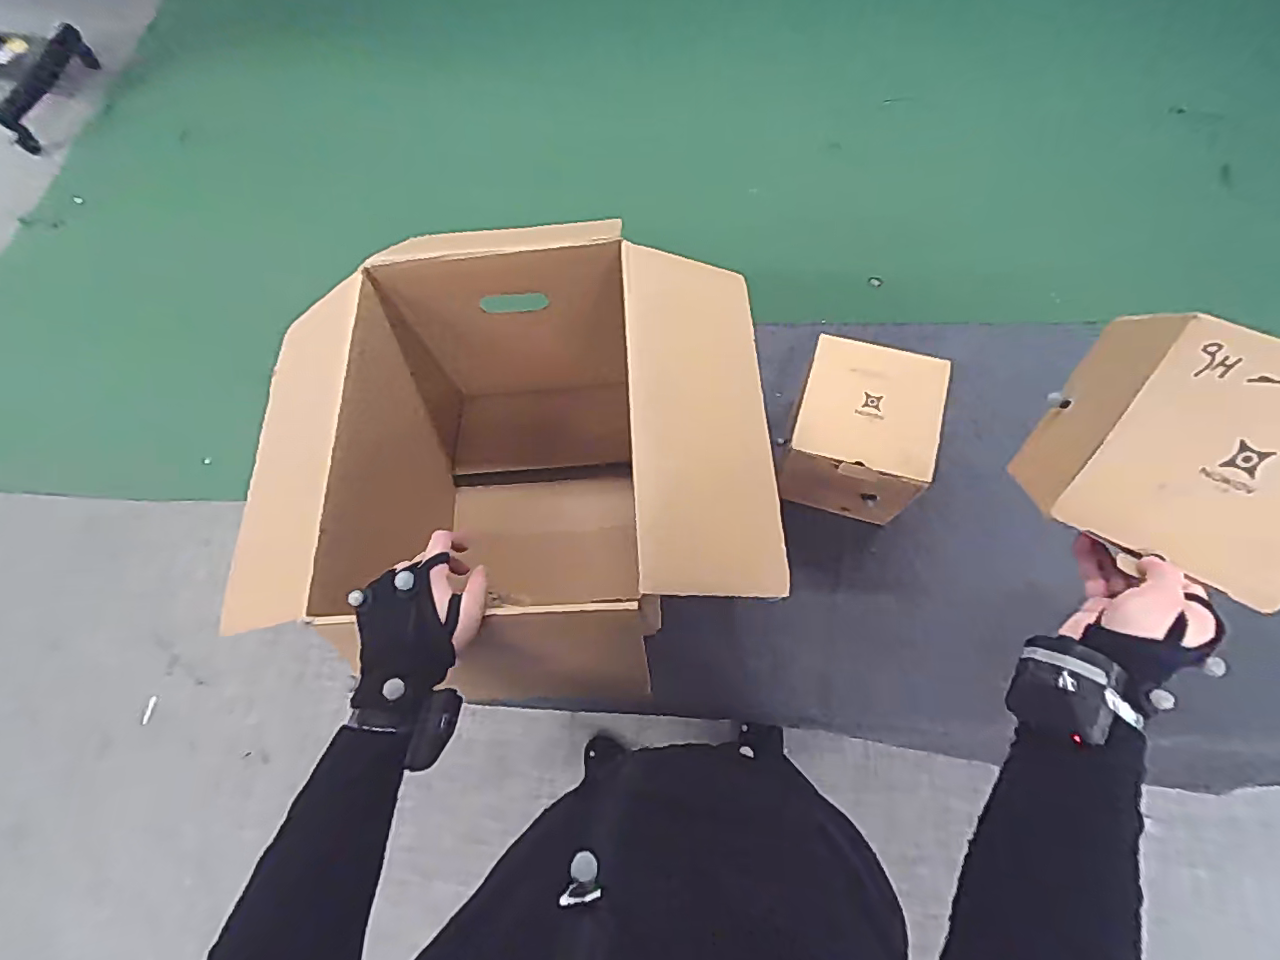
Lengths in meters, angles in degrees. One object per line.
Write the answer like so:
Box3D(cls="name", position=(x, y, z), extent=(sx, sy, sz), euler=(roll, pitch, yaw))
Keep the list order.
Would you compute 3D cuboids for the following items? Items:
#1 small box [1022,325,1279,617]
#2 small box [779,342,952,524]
Box3D(cls="small box", position=(0.476, -0.021, 0.477), extent=(0.168, 0.176, 0.179), euler=(29, 113, 16))
Box3D(cls="small box", position=(0.299, -0.056, 0.749), extent=(0.168, 0.176, 0.179), euler=(16, 71, 10))
